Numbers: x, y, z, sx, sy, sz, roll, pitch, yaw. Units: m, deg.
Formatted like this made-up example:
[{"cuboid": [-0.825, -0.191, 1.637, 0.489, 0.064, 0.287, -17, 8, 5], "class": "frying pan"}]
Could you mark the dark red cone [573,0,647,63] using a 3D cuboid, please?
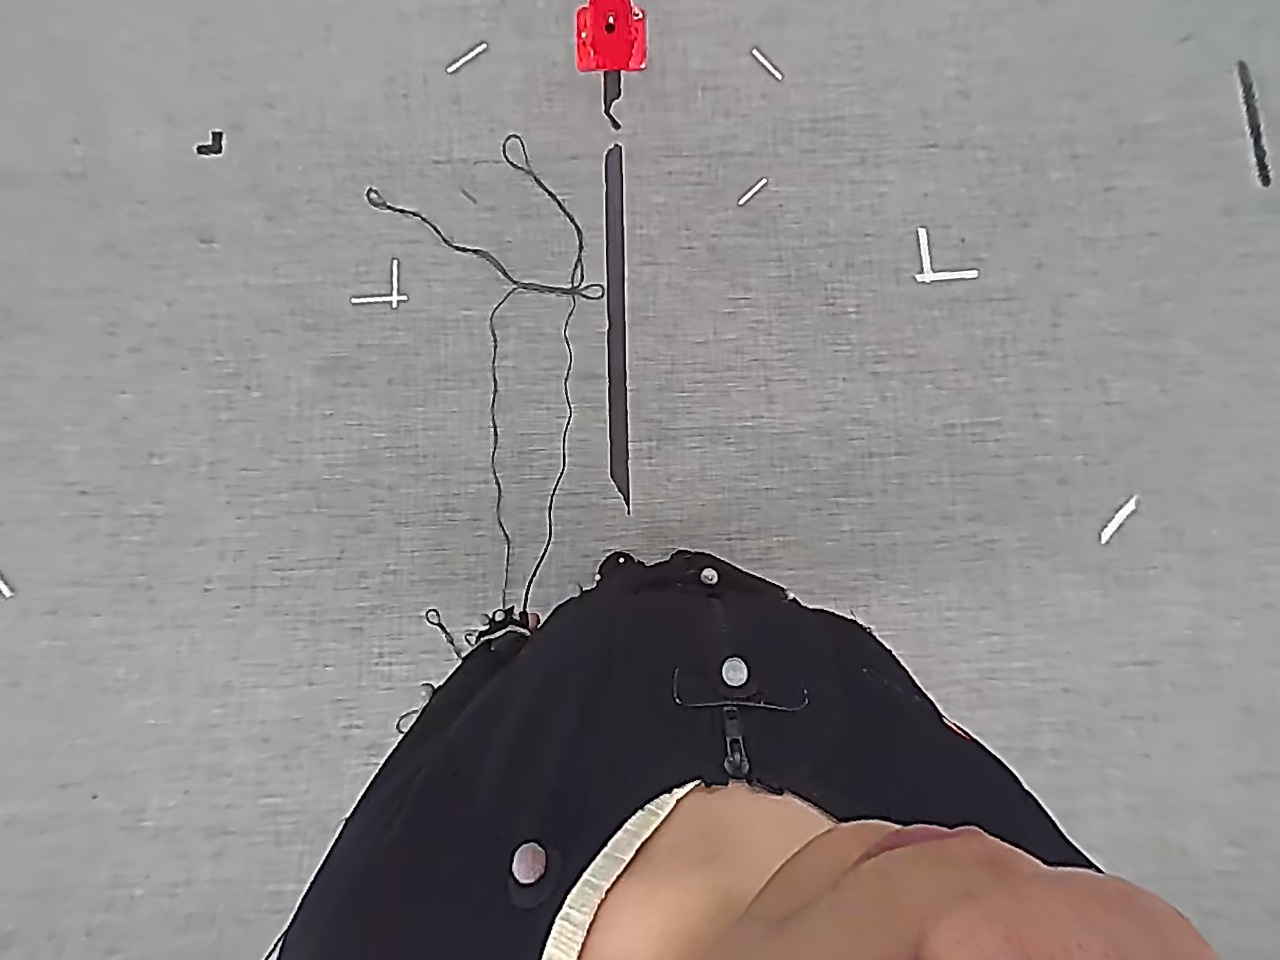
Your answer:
[{"cuboid": [-0.085, -1.287, 1.355, 0.201, 0.394, 0.202, -3, 84, 0], "class": "dark red cone"}]
